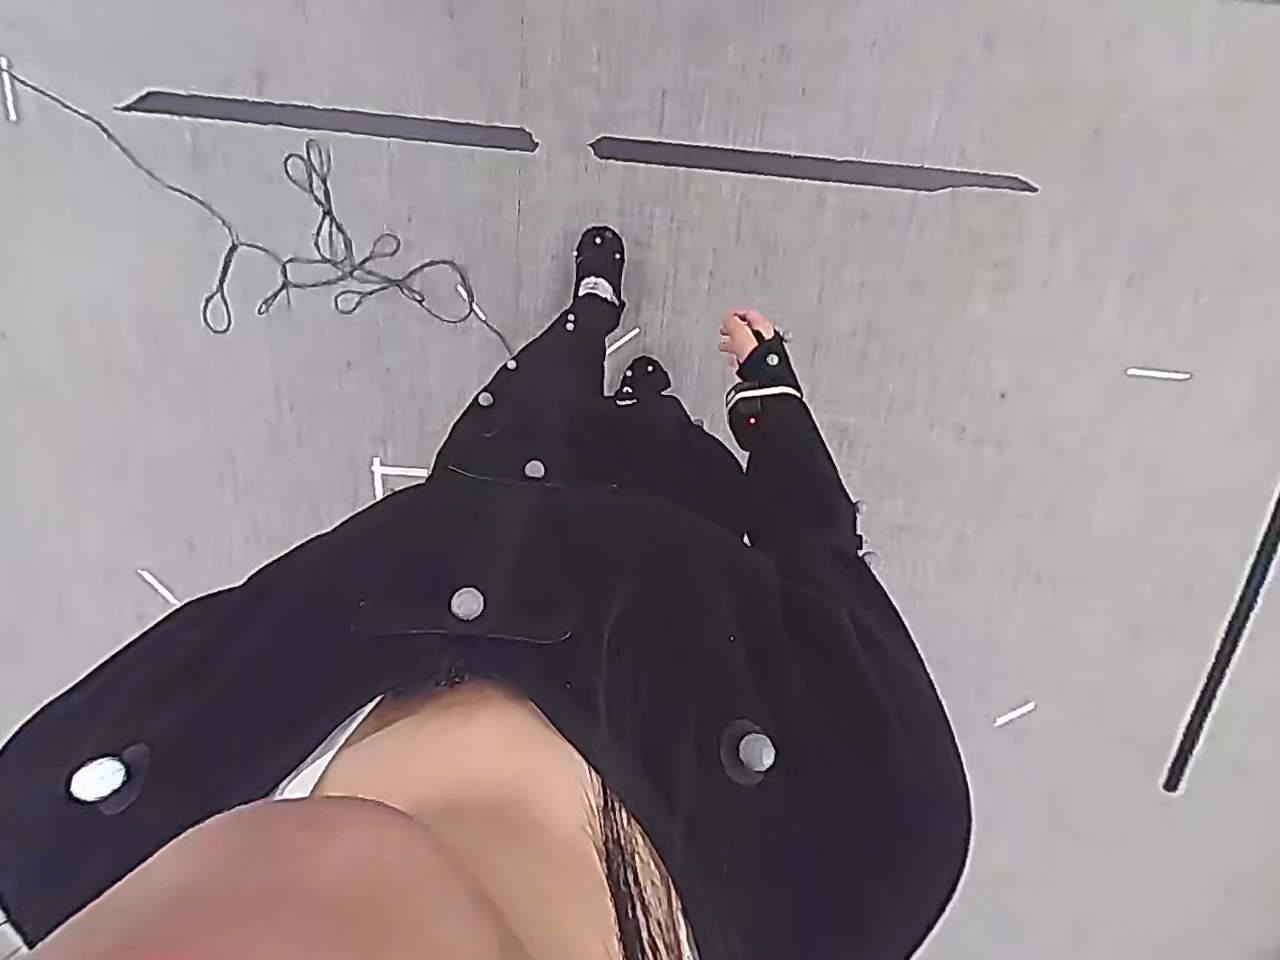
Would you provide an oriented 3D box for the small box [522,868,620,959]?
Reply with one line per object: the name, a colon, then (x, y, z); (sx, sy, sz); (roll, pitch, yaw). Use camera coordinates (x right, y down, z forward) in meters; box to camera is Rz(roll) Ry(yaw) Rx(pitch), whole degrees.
small box: (-0.134, 0.886, 1.027); (0.168, 0.176, 0.179); (11, 105, 0)
